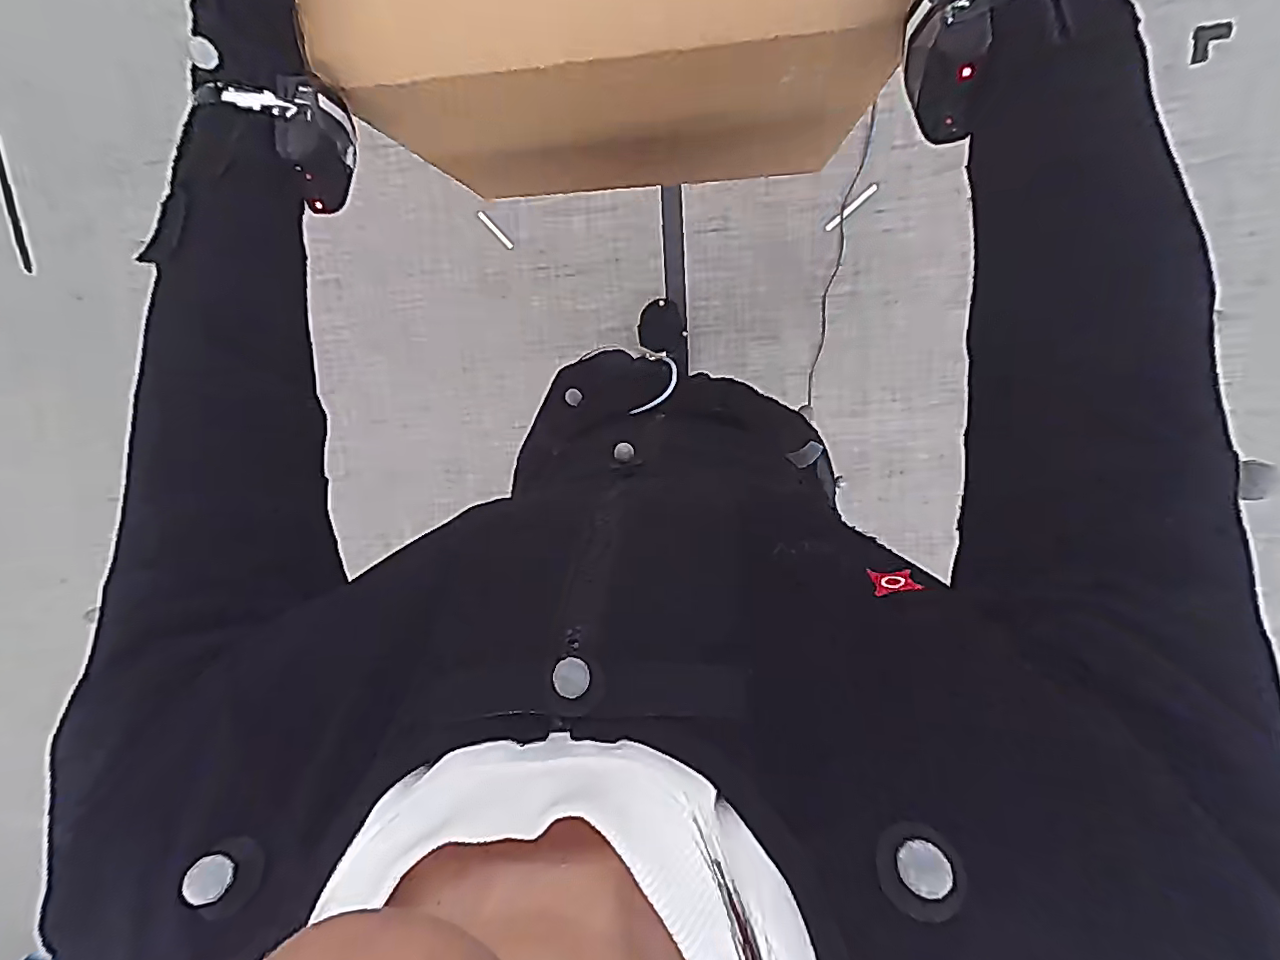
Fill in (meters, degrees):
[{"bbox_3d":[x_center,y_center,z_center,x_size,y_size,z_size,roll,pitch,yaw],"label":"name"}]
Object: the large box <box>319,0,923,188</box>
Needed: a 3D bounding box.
[{"bbox_3d":[-0.014,-0.472,0.457,0.408,0.320,0.320,-2,105,6],"label":"large box"}]
